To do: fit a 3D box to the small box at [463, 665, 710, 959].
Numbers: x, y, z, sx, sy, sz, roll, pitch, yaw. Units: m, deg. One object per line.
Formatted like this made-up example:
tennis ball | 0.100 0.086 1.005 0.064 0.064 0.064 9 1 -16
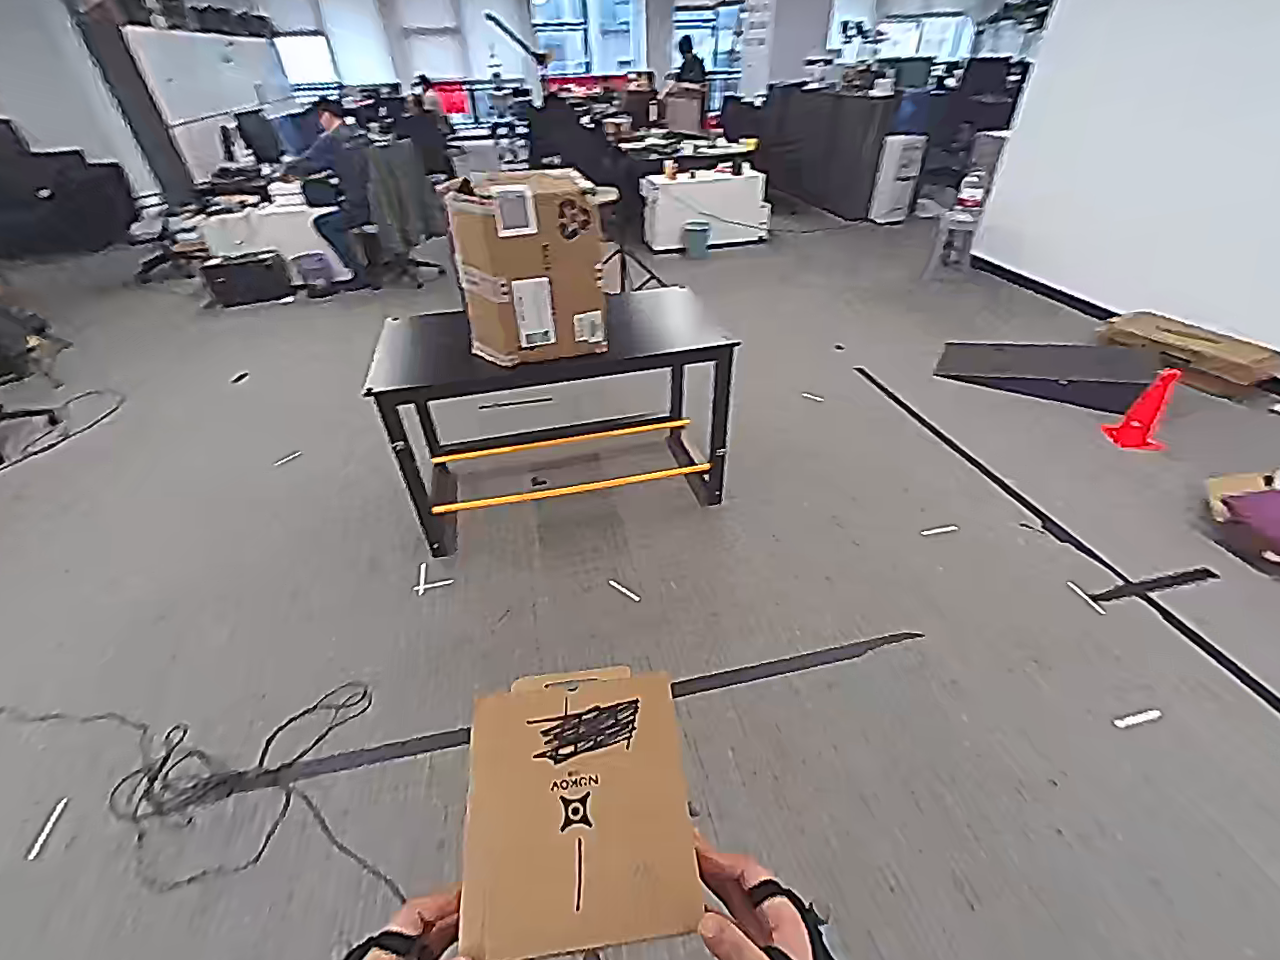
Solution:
small box | -0.043 0.284 0.466 0.168 0.176 0.179 -7 51 -4
